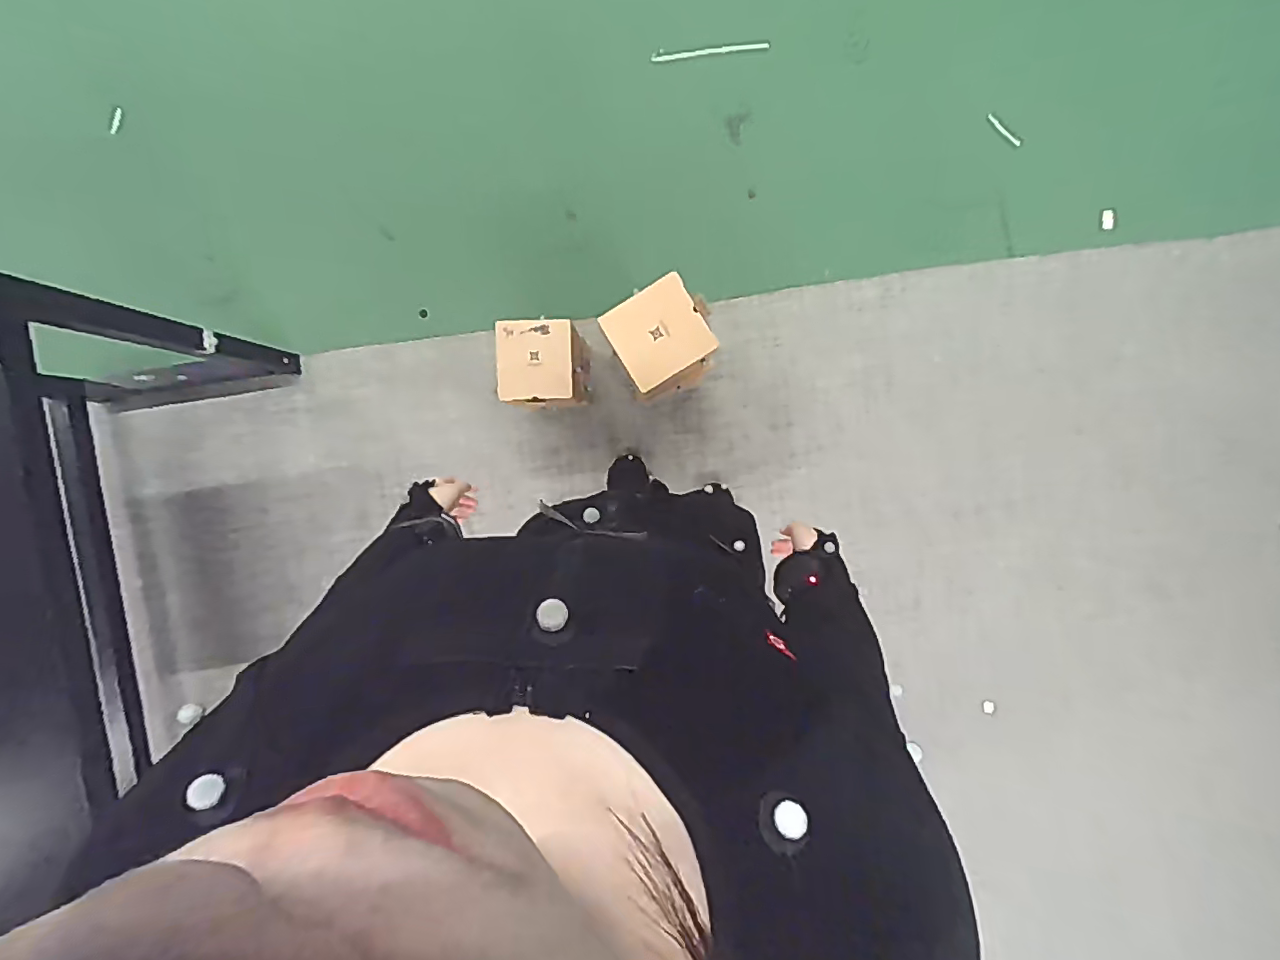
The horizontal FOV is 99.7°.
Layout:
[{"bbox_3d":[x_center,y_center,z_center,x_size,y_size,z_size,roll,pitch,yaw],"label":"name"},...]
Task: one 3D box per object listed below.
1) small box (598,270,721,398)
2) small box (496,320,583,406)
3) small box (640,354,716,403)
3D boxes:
[{"bbox_3d":[0.037,-0.277,1.073,0.179,0.176,0.168,-32,94,2],"label":"small box"},{"bbox_3d":[-0.224,-0.260,1.236,0.168,0.176,0.179,0,93,2],"label":"small box"},{"bbox_3d":[0.053,-0.286,1.236,0.179,0.176,0.168,-27,95,1],"label":"small box"}]
